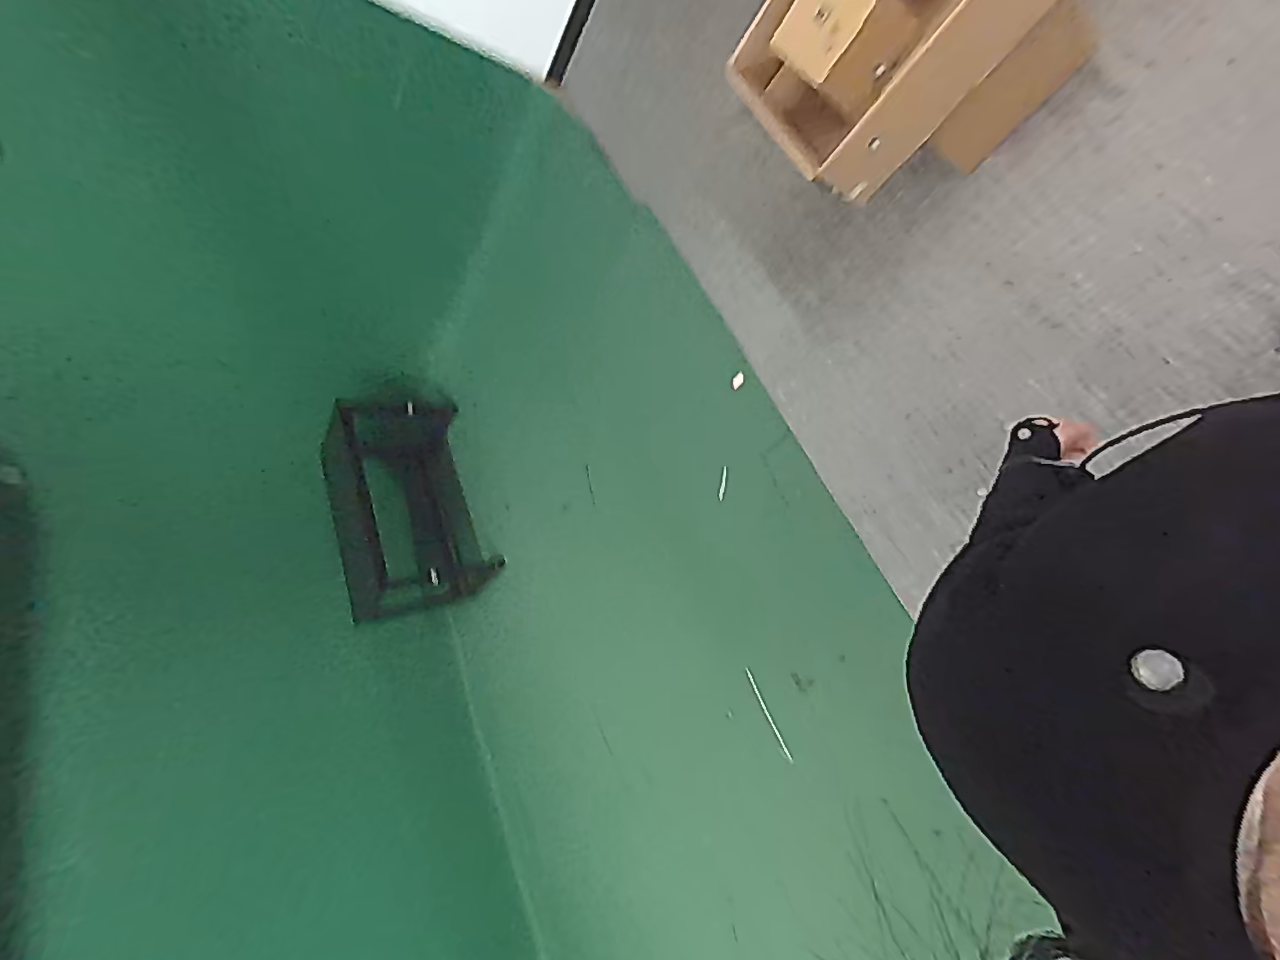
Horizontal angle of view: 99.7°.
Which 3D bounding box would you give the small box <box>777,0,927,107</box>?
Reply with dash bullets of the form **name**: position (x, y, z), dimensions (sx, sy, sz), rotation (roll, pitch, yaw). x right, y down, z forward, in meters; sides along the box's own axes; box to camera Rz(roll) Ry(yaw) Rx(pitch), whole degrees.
- **small box**: position (0.407, -0.867, 1.041), dimensions (0.168, 0.176, 0.179), rotation (-48, 59, 39)
